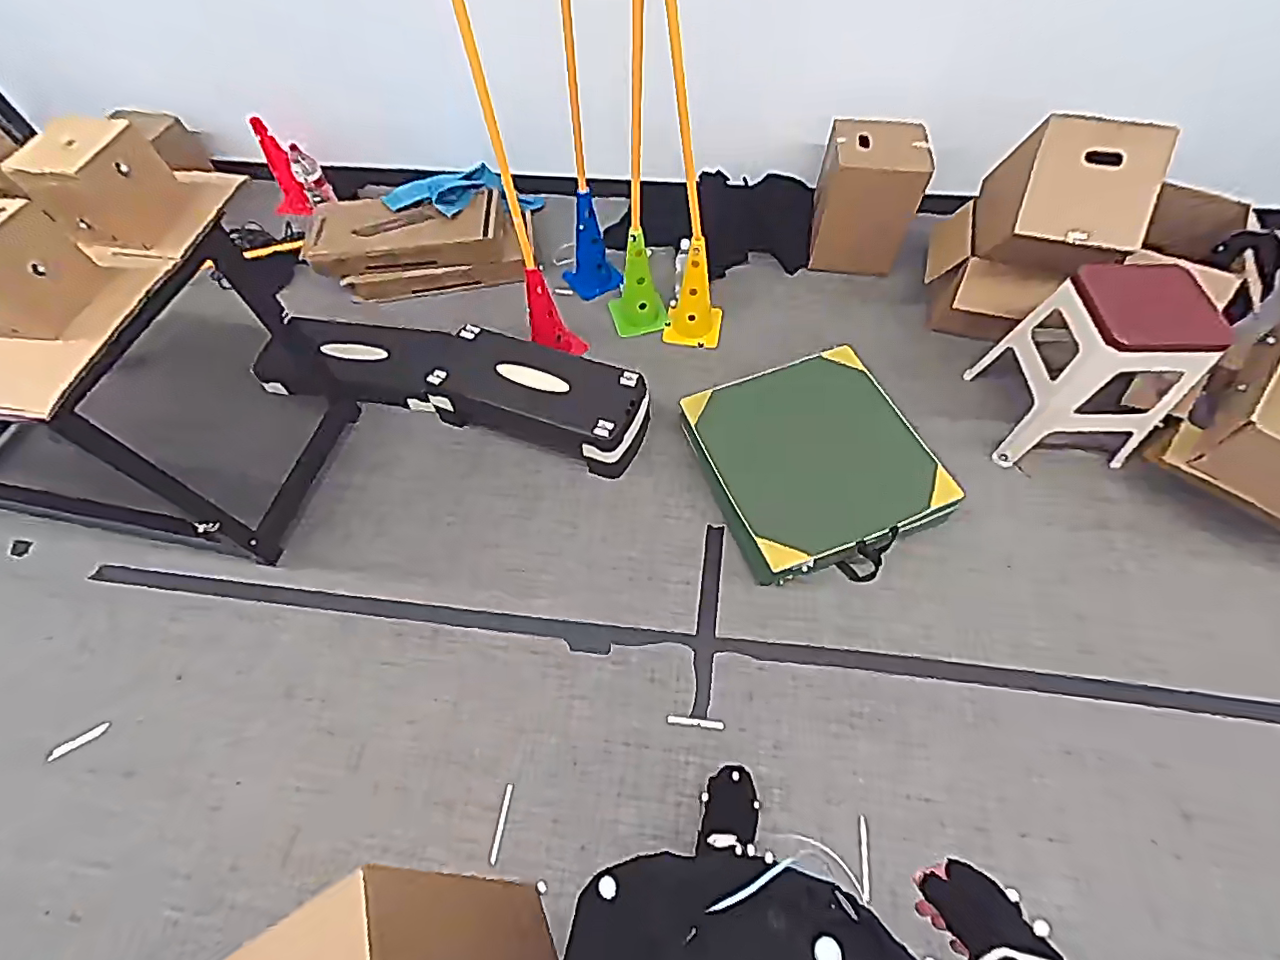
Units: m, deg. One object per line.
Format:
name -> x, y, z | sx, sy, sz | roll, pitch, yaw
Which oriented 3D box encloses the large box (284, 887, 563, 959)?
large box -> -0.290, 0.754, 0.648 | 0.320, 0.408, 0.320 | -33, 46, -3
